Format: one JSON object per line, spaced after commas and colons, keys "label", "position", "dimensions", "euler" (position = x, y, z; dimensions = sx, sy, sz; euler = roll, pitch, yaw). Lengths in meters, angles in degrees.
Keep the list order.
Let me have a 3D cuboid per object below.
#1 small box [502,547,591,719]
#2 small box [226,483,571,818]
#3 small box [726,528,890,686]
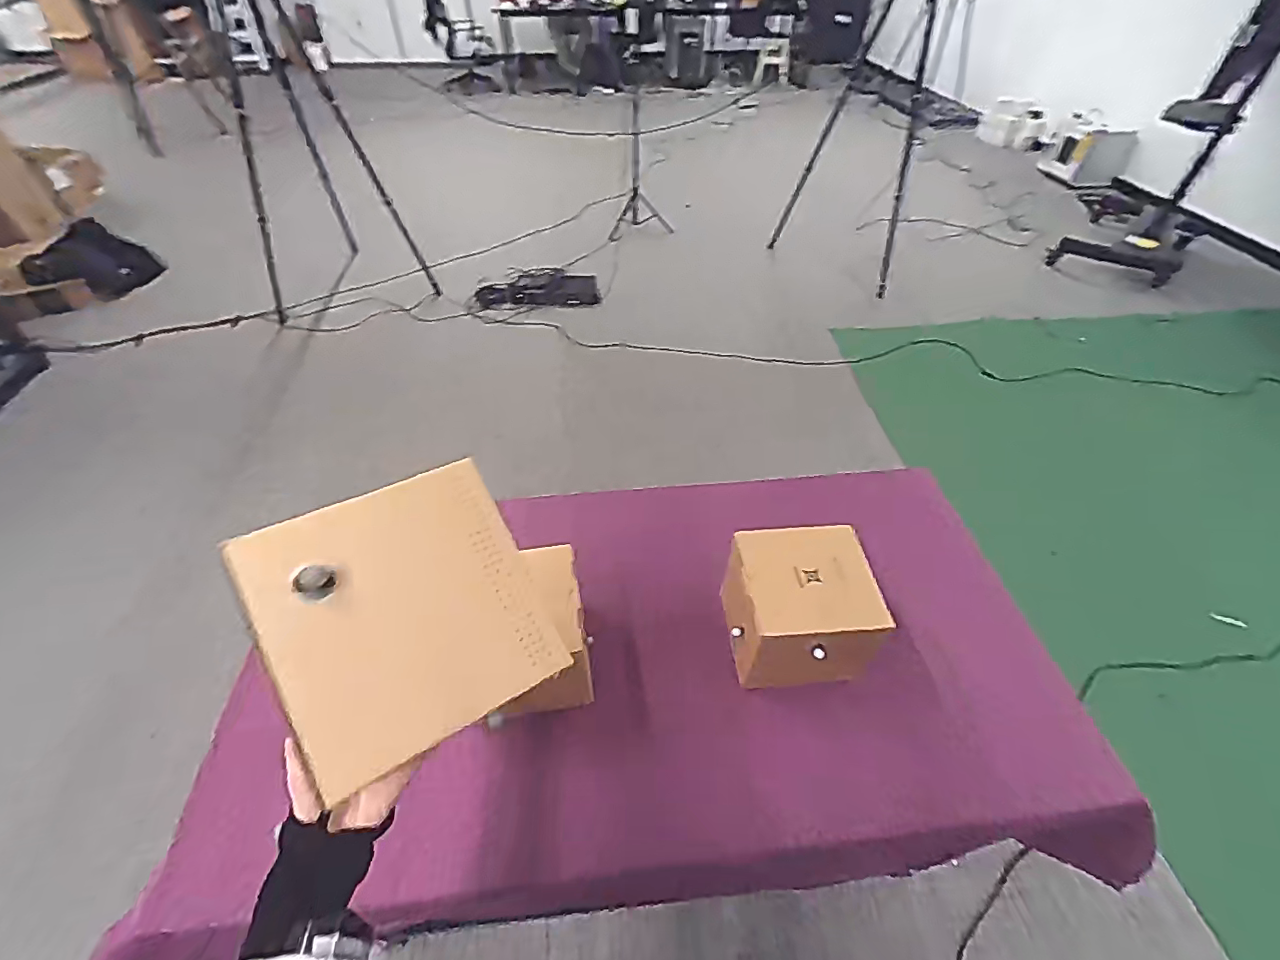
{"label": "small box", "position": [-0.167, 0.219, 0.760], "dimensions": [0.179, 0.176, 0.168], "euler": [-7, 47, -8]}
{"label": "small box", "position": [-0.179, 0.118, 0.429], "dimensions": [0.176, 0.168, 0.179], "euler": [-25, 79, -27]}
{"label": "small box", "position": [0.226, 0.188, 0.790], "dimensions": [0.179, 0.176, 0.168], "euler": [-3, 47, -4]}
